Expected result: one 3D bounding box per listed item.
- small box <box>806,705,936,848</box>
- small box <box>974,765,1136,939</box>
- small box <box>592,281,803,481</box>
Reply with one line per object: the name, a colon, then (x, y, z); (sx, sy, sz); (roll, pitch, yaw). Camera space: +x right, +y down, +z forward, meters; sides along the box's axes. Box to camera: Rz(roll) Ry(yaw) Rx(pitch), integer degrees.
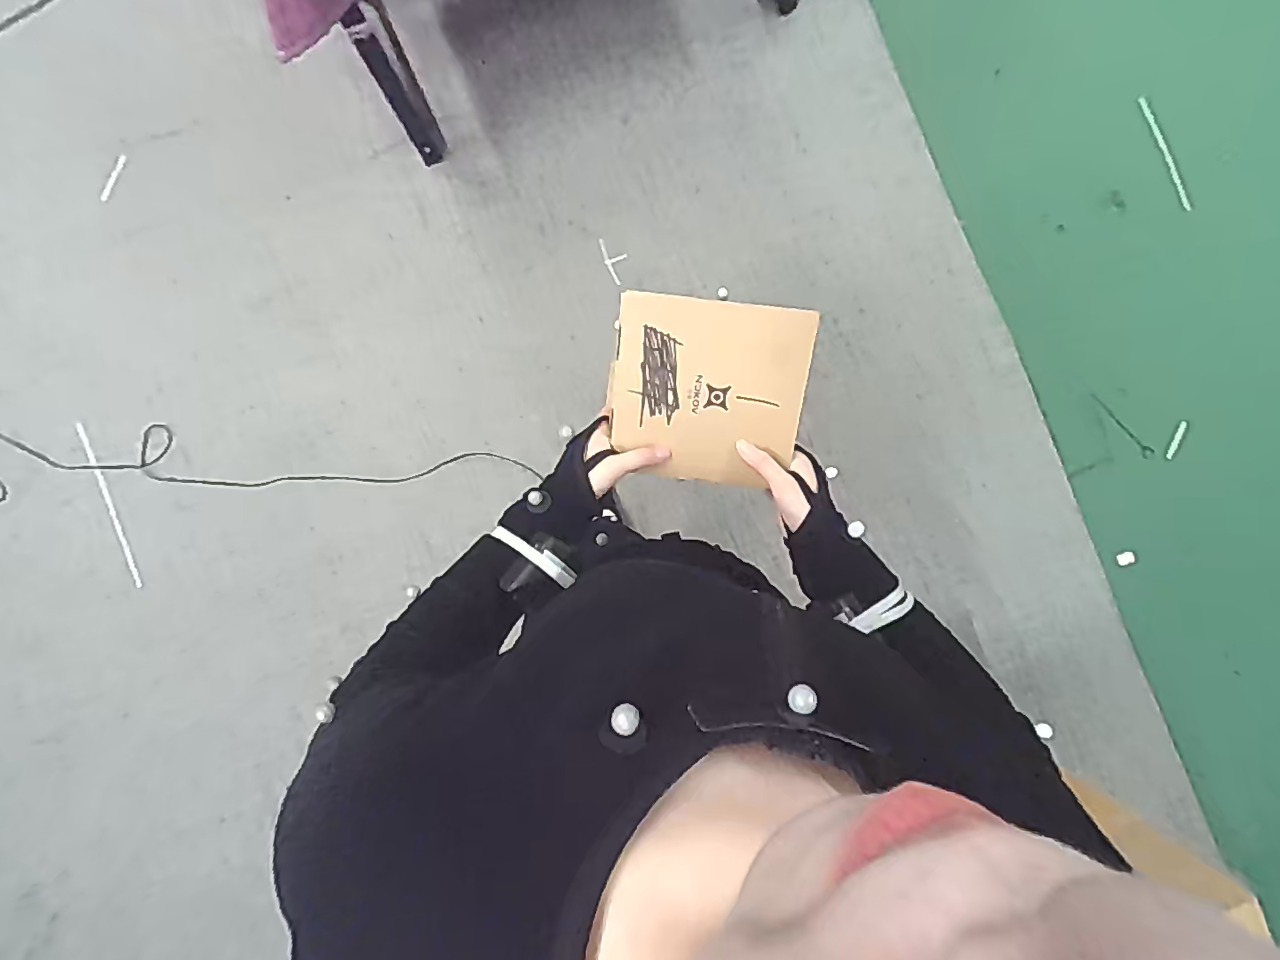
small box: (0.463, 0.597, 1.109); (0.168, 0.176, 0.179); (-17, 90, -2)
small box: (0.745, 0.646, 0.959); (0.179, 0.176, 0.168); (-23, 92, -1)
small box: (0.050, -0.108, 0.570); (0.179, 0.176, 0.168); (6, 107, -1)
